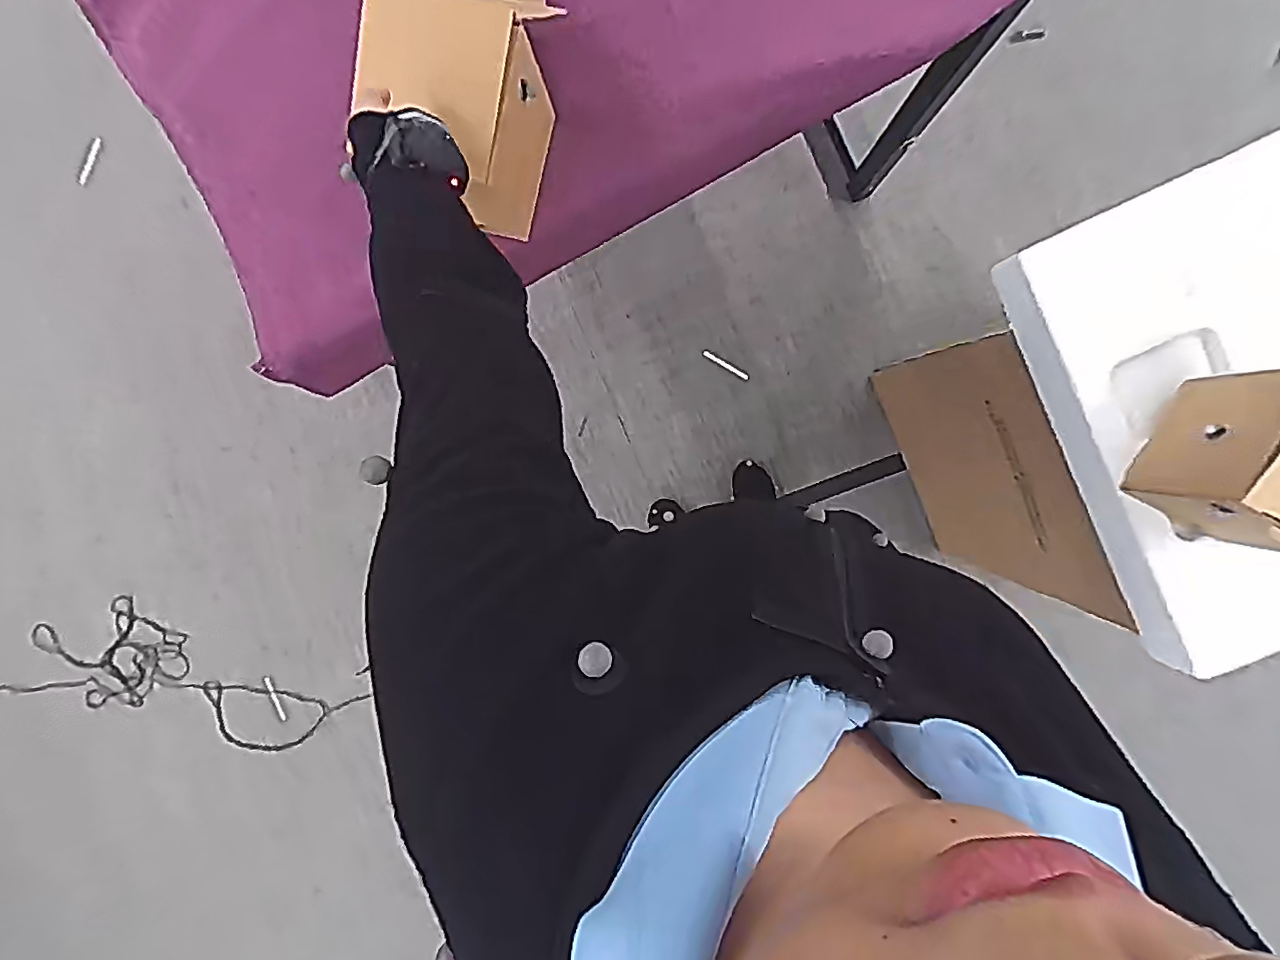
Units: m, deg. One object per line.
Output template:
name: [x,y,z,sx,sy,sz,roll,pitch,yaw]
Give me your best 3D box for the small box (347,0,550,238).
small box: [-0.219,-0.432,0.668,0.168,0.176,0.179,14,94,3]
